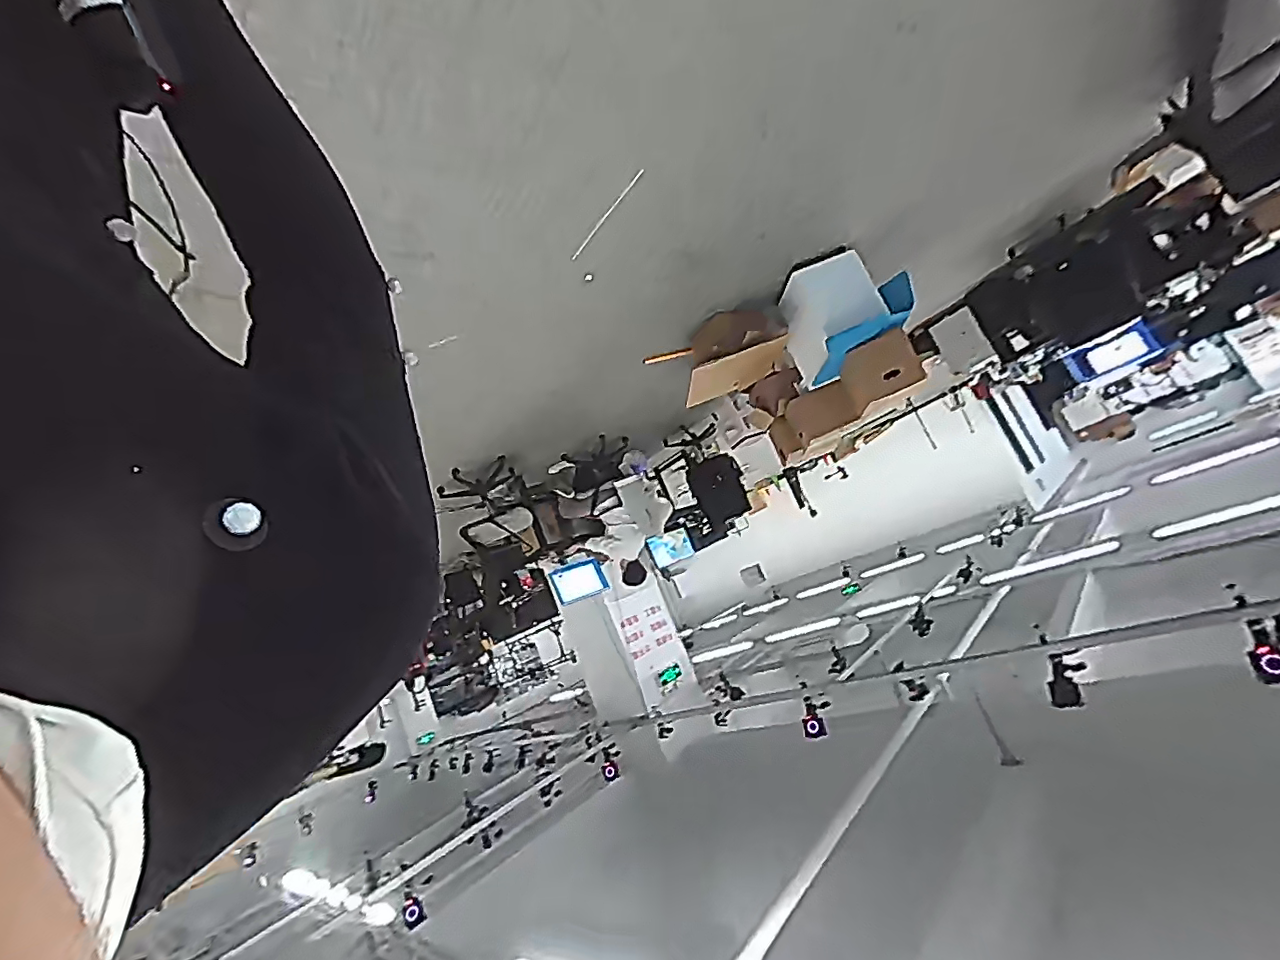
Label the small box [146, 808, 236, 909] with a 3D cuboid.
[{"bbox_3d":[-1.279,1.063,1.536,0.179,0.176,0.168,-11,164,-44],"label":"small box"}]

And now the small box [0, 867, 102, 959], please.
[{"bbox_3d":[-1.468,1.101,1.342,0.168,0.176,0.179,-10,164,-48],"label":"small box"}]
